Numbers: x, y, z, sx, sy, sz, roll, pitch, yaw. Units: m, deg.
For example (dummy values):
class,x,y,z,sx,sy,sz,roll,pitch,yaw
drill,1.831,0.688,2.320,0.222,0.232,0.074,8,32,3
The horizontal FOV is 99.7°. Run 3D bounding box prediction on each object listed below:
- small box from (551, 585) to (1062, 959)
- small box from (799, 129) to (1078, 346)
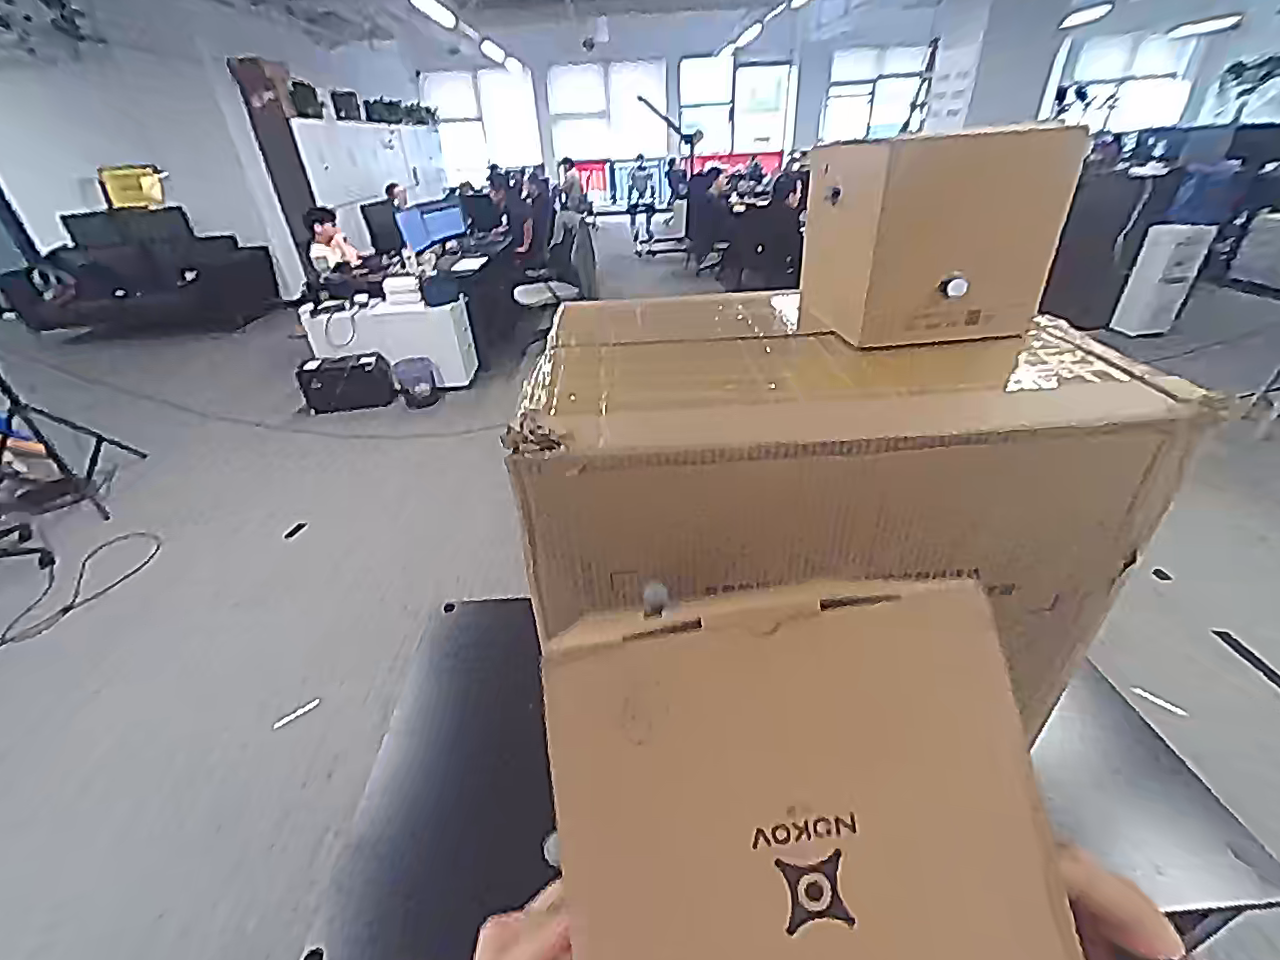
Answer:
class,x,y,z,sx,sy,sz,roll,pitch,yaw
small box,0.057,0.152,0.269,0.168,0.179,0.176,-9,-11,-1
small box,0.267,-0.241,0.538,0.168,0.176,0.179,-6,31,-1
